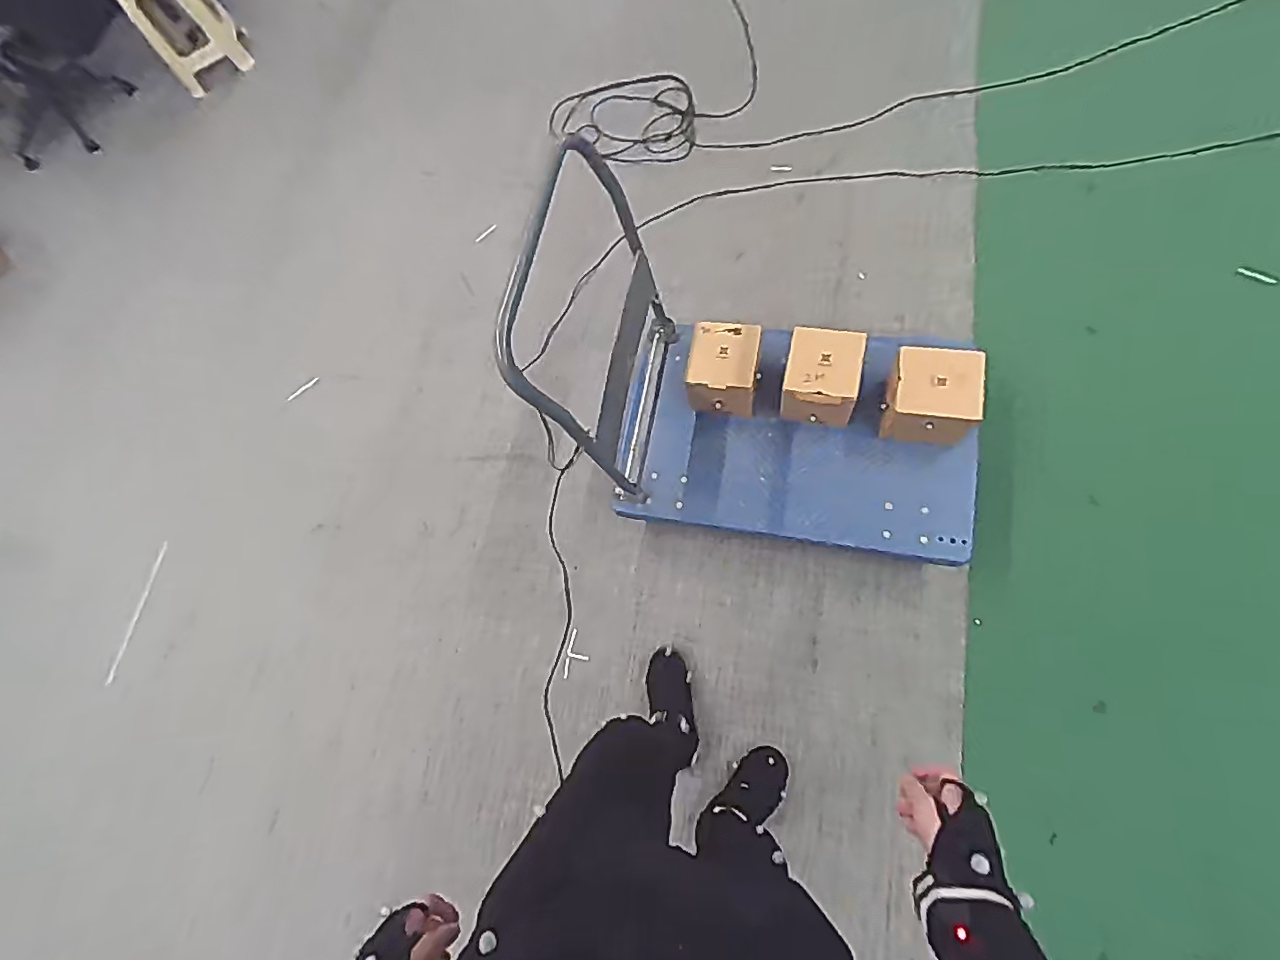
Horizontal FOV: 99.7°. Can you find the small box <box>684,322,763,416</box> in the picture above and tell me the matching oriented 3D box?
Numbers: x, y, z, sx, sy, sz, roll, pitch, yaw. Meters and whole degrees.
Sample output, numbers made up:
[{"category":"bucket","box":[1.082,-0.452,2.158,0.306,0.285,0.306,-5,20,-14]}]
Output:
[{"category":"small box","box":[0.220,-0.279,1.388,0.168,0.176,0.179,10,75,14]}]

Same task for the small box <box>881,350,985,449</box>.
[{"category":"small box","box":[0.675,-0.182,1.263,0.179,0.176,0.168,9,75,15]}]

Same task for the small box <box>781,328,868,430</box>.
[{"category":"small box","box":[0.447,-0.245,1.330,0.168,0.176,0.179,12,75,15]}]
